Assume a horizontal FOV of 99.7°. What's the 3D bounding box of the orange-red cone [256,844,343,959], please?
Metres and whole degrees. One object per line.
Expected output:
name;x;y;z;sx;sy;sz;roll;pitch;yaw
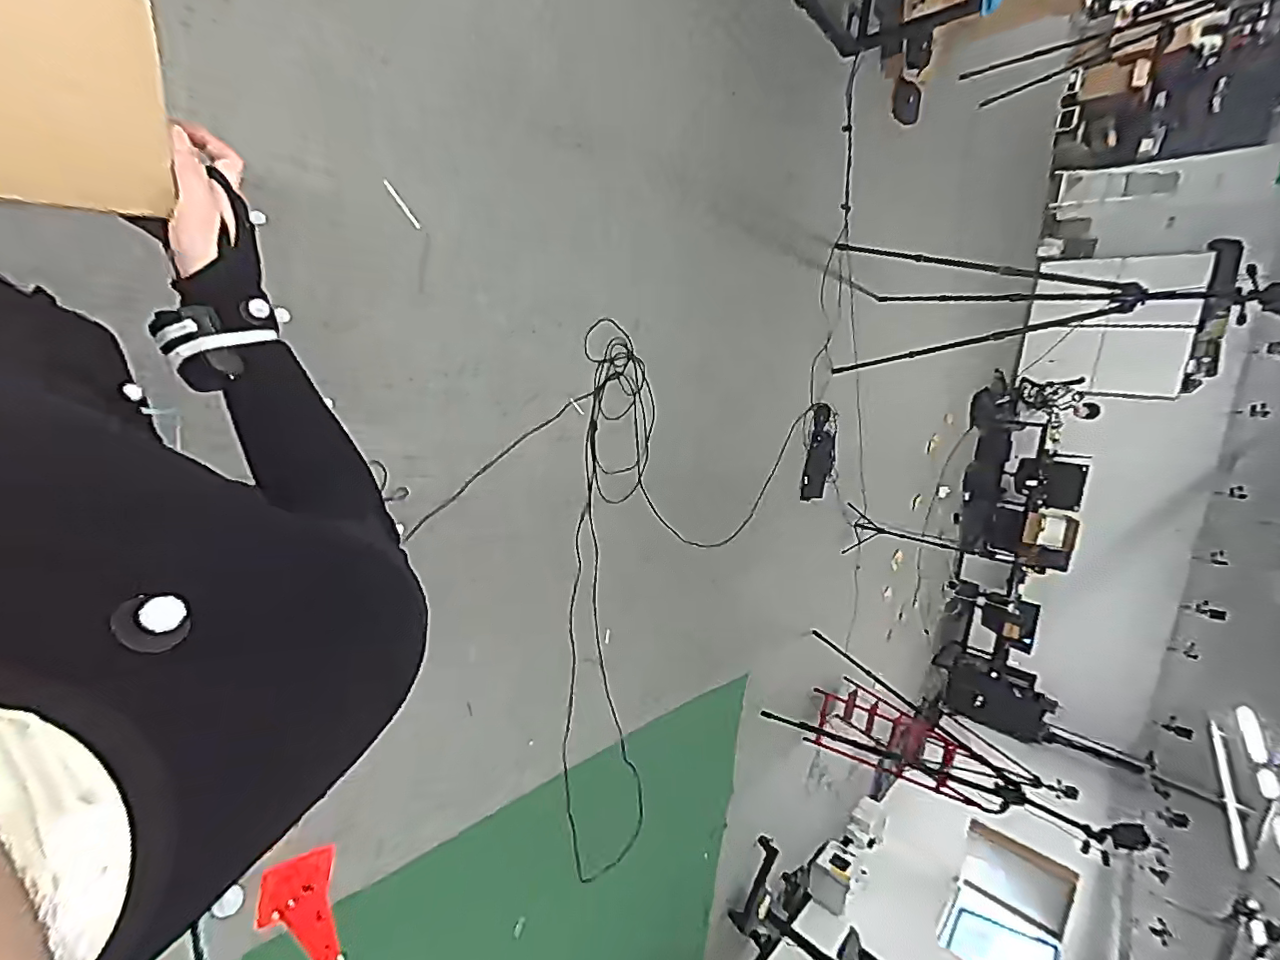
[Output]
orange-red cone;-0.937;1.281;1.564;0.199;0.360;0.198;6;97;-50
